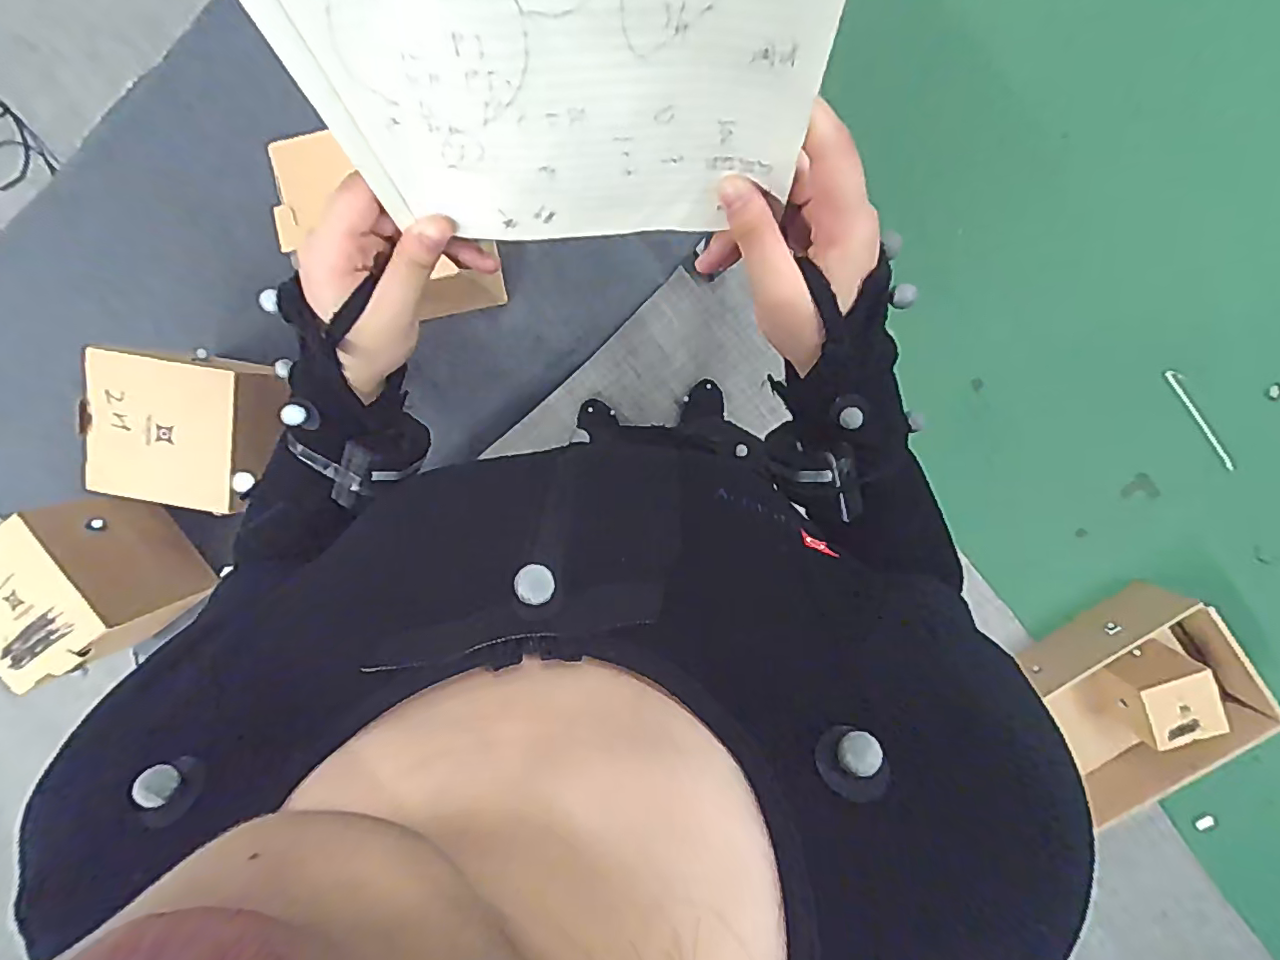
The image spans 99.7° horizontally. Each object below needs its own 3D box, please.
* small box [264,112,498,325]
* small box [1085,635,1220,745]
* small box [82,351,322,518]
[{"bbox_3d":[-0.281,-0.287,0.634,0.179,0.176,0.168,-10,98,6],"label":"small box"},{"bbox_3d":[1.296,0.528,1.378,0.168,0.176,0.179,-23,98,7],"label":"small box"},{"bbox_3d":[-0.536,-0.062,0.684,0.179,0.176,0.168,10,99,2],"label":"small box"}]
